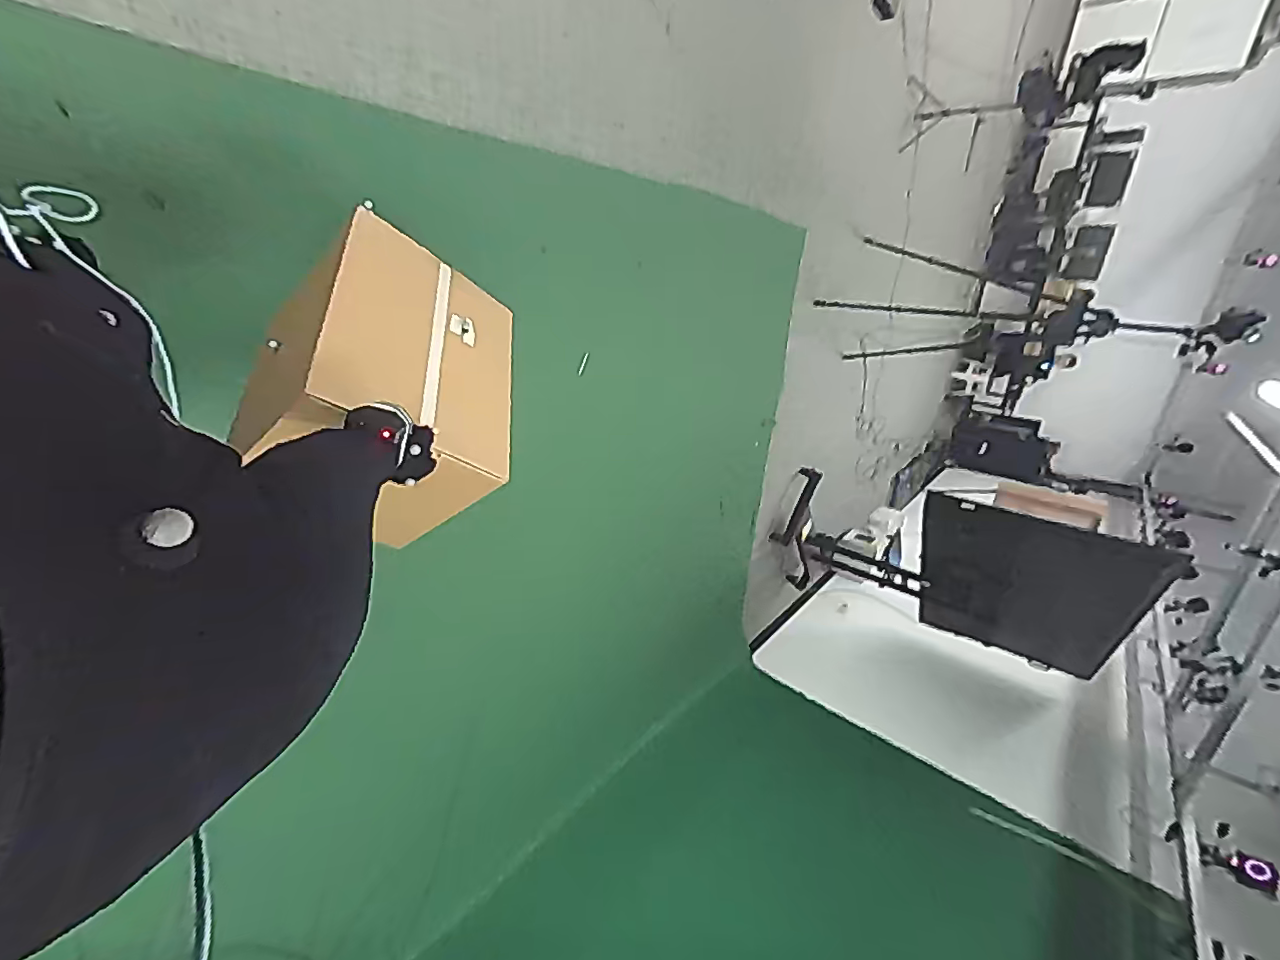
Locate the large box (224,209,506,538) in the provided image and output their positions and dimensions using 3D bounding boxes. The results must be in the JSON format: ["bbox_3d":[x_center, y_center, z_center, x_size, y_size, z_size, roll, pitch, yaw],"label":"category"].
[{"bbox_3d":[-0.457,-0.162,0.953,0.320,0.320,0.408,29,42,-44],"label":"large box"}]
